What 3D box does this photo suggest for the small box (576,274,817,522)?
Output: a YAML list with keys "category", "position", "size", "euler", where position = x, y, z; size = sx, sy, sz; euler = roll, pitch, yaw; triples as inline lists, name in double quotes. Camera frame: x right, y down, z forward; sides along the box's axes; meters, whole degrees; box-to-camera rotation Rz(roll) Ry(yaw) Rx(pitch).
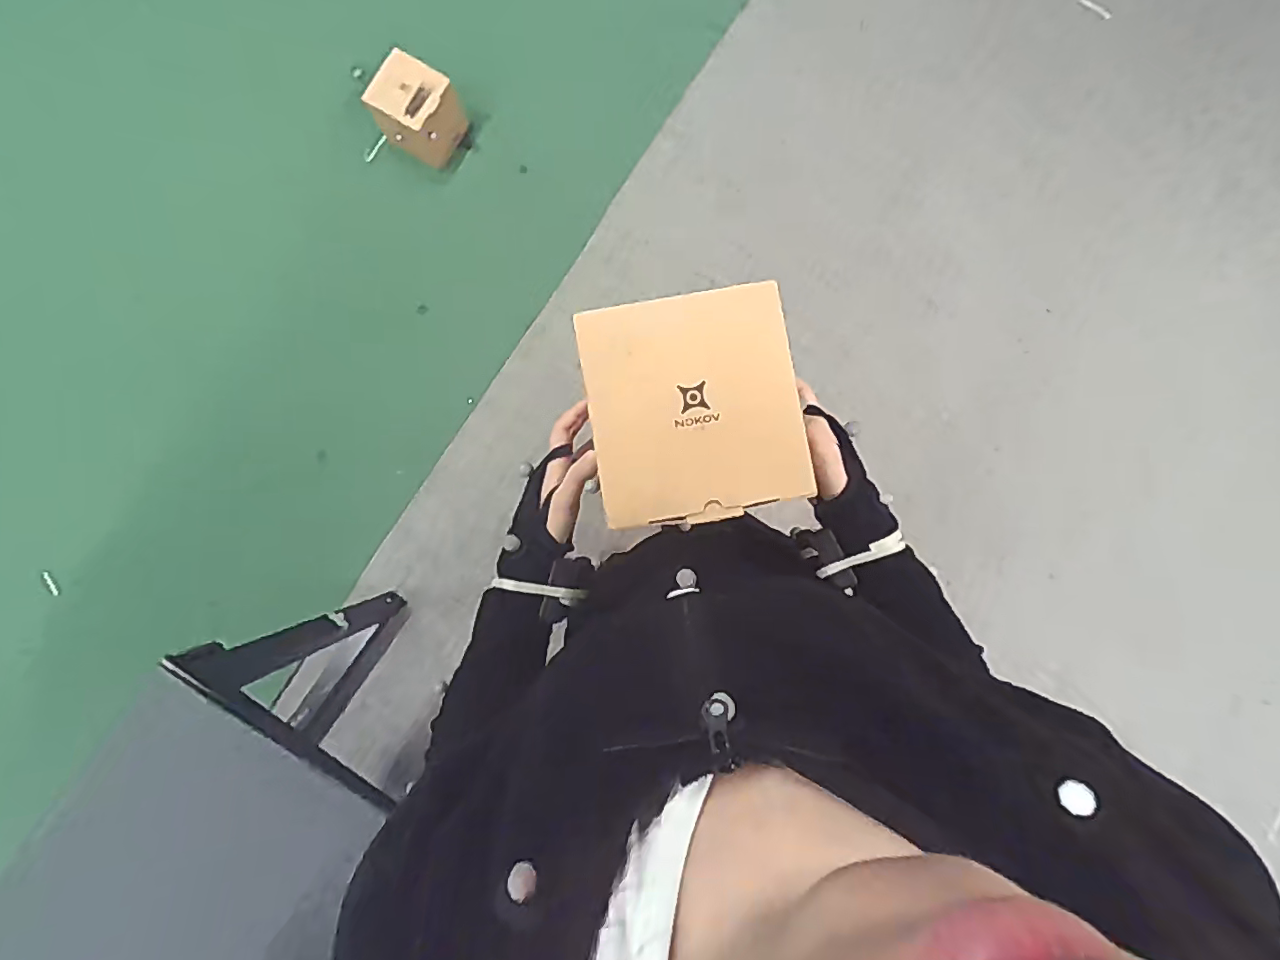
- category: "small box"
  position: [0.039, -0.060, 0.495]
  size: [0.168, 0.176, 0.179]
  euler: [-10, 87, -3]
